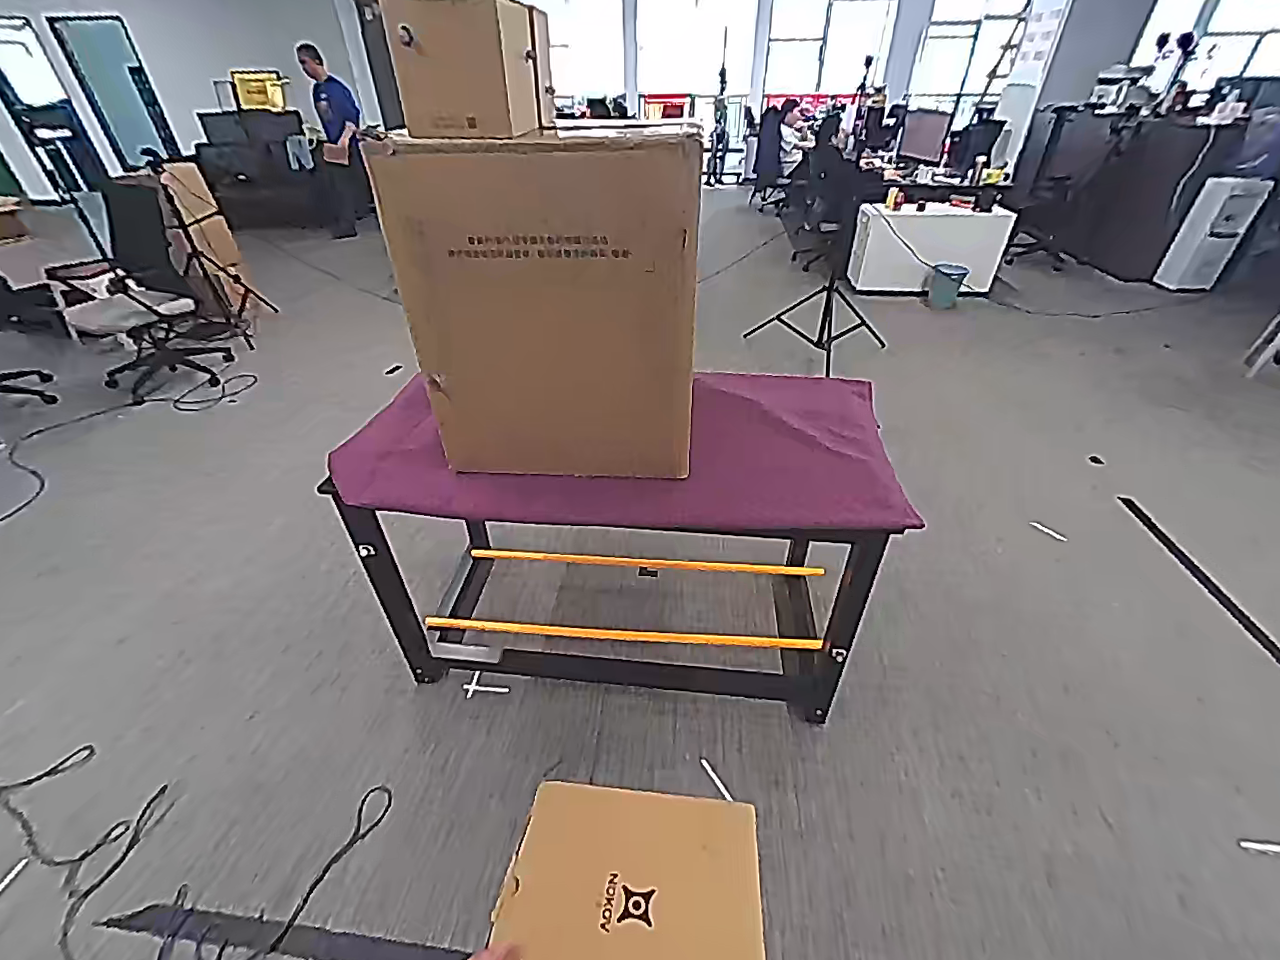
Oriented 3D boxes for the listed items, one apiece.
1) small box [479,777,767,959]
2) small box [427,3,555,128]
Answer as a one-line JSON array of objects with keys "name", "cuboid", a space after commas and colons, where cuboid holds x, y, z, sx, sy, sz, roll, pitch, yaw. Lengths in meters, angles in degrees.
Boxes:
[{"name": "small box", "cuboid": [-0.006, 0.351, 0.385, 0.179, 0.176, 0.168, 2, 22, 7]}, {"name": "small box", "cuboid": [-0.259, -0.745, 0.984, 0.179, 0.176, 0.168, 2, 37, 1]}]
